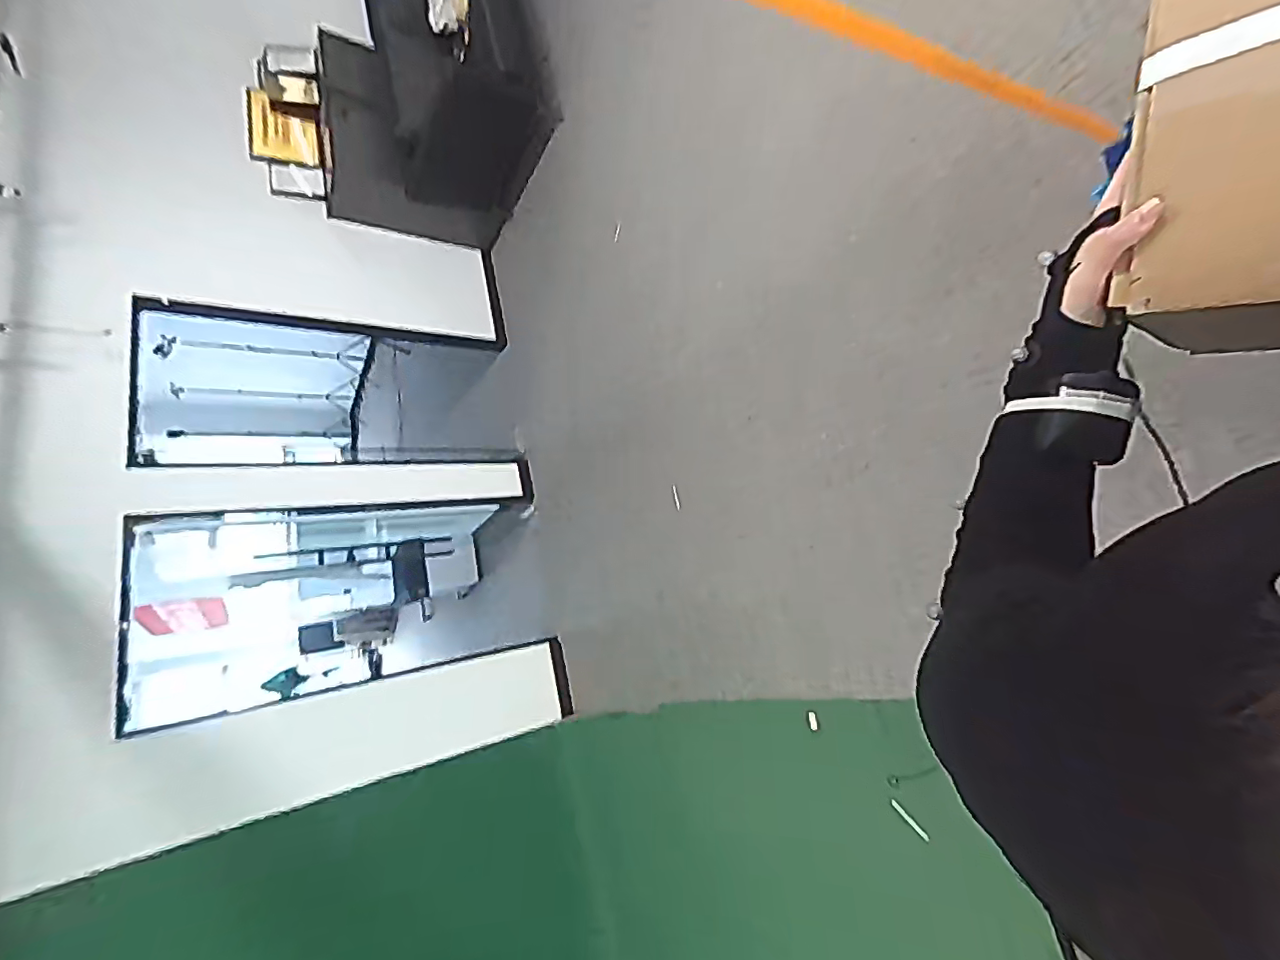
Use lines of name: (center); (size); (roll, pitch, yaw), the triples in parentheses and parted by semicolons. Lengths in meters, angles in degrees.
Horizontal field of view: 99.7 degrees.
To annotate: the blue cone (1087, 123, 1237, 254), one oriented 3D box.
blue cone: (0.930, -0.581, 1.015); (0.193, 0.380, 0.192); (-36, 63, 50)
